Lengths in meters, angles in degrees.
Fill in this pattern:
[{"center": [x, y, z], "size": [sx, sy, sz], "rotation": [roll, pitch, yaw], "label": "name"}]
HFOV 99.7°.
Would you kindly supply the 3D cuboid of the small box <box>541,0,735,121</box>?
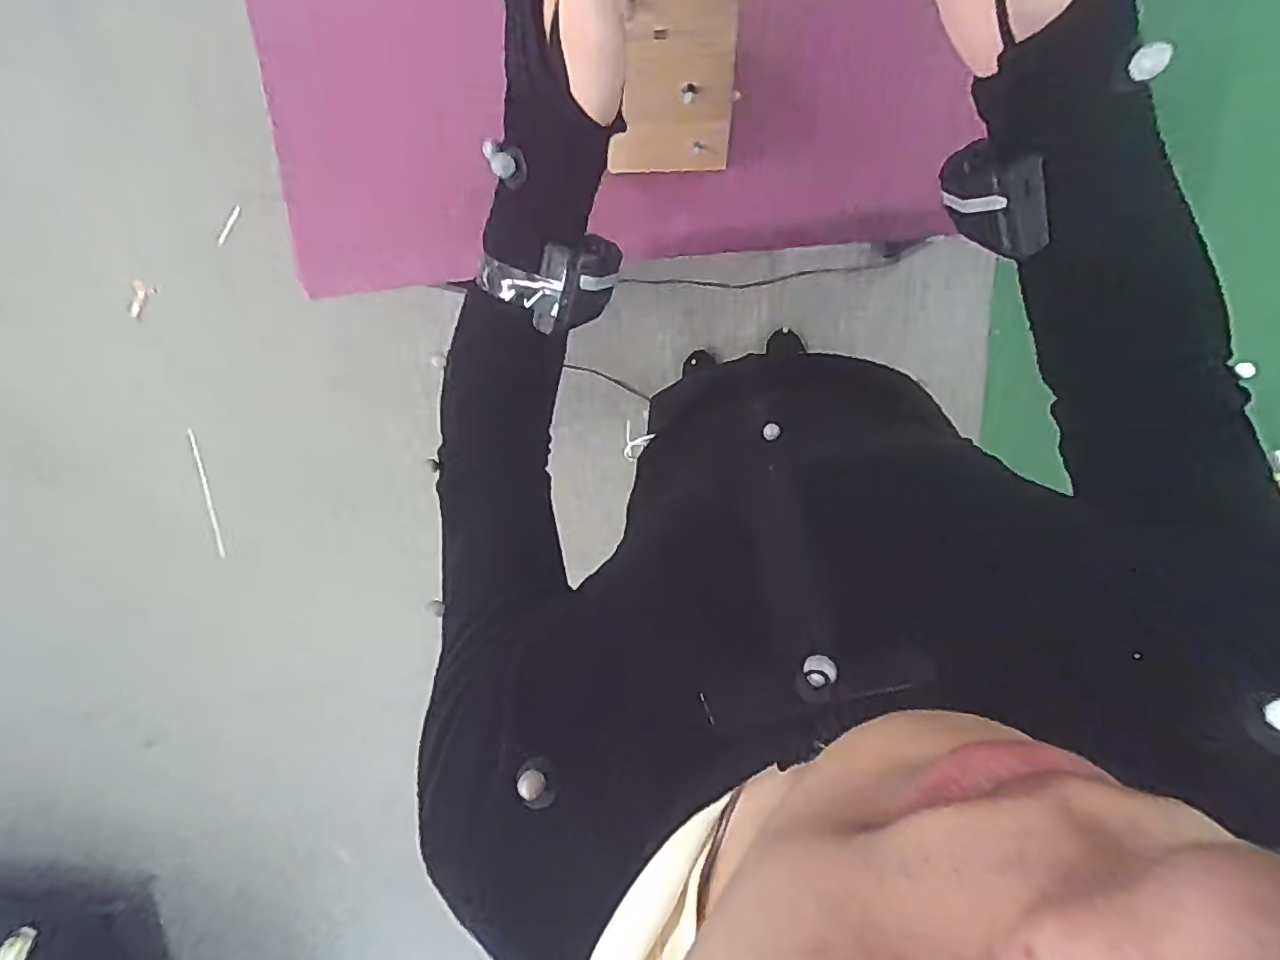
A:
[{"center": [0.006, -0.489, 0.547], "size": [0.179, 0.176, 0.168], "rotation": [2, 103, 8], "label": "small box"}]
